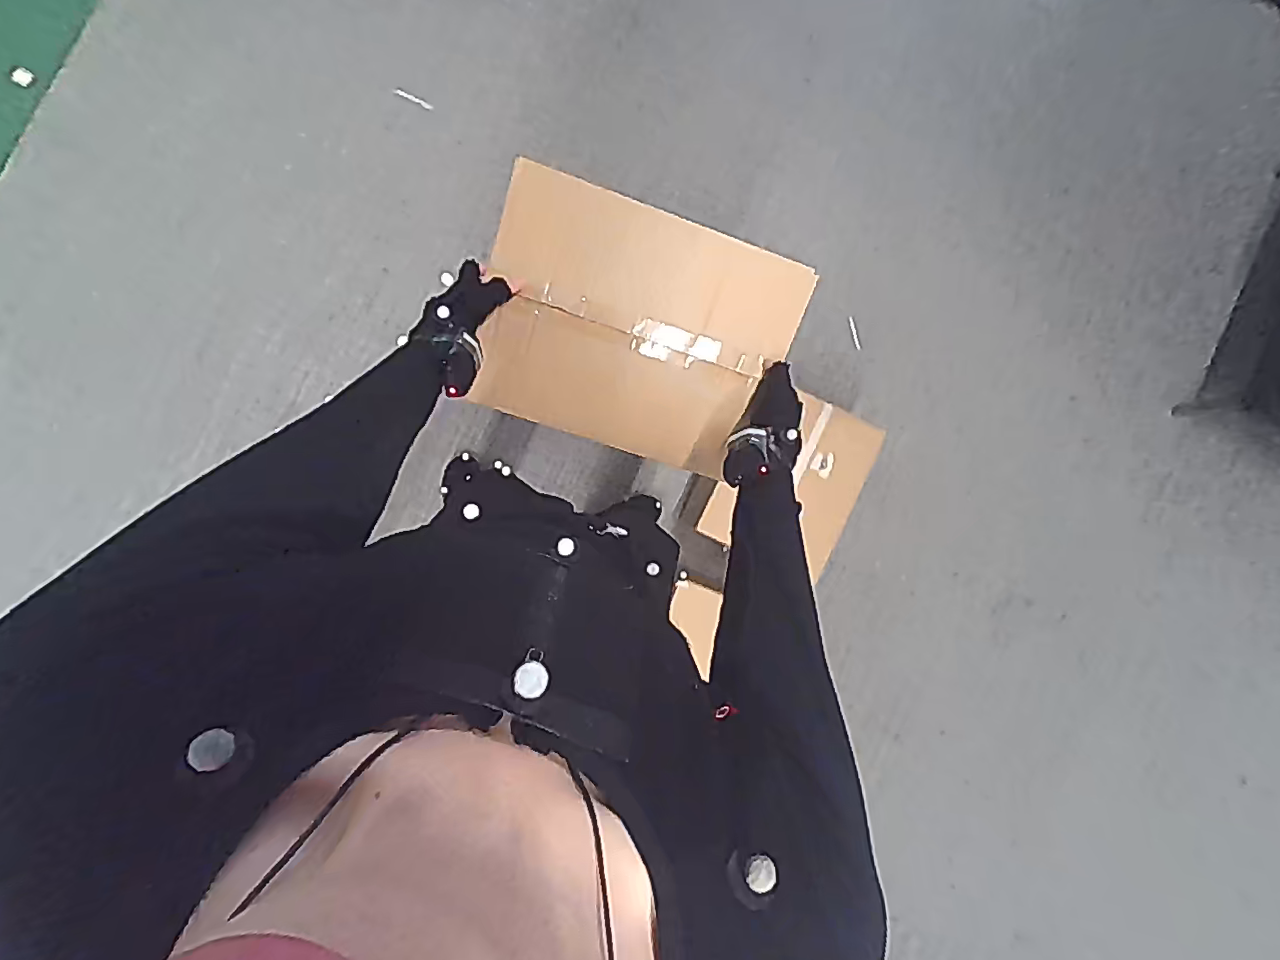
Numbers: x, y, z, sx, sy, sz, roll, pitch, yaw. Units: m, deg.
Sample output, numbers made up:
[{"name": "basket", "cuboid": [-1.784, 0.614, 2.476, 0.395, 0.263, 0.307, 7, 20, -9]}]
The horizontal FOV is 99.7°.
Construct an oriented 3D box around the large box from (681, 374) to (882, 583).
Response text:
[{"name": "large box", "cuboid": [0.338, 0.003, 1.389, 0.320, 0.320, 0.408, 27, 87, -3]}]
